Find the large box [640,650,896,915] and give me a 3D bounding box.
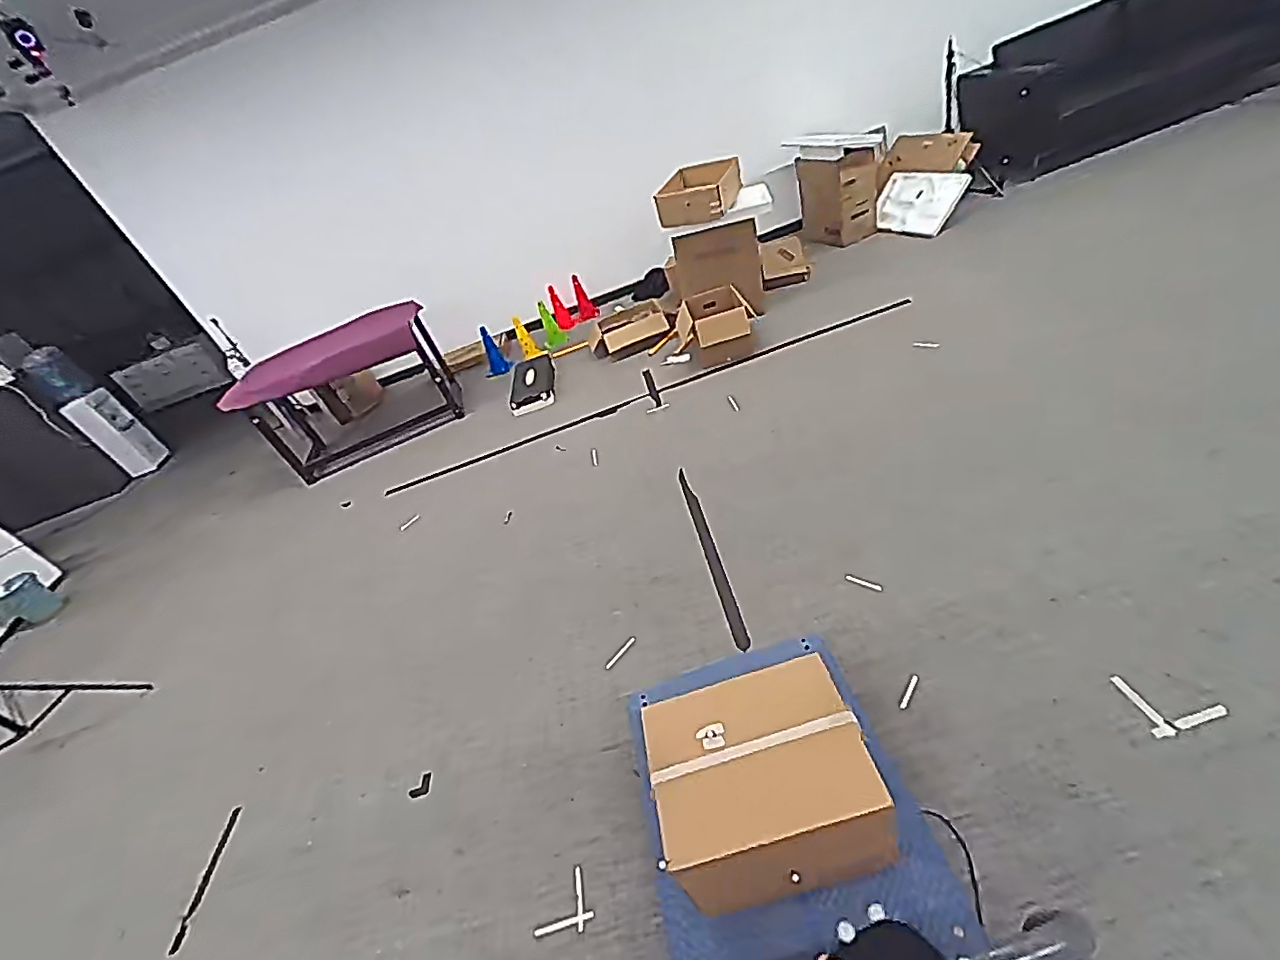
[{"bbox_3d":[0.257,0.623,1.118,0.408,0.320,0.320,-20,35,4],"label":"large box"}]
